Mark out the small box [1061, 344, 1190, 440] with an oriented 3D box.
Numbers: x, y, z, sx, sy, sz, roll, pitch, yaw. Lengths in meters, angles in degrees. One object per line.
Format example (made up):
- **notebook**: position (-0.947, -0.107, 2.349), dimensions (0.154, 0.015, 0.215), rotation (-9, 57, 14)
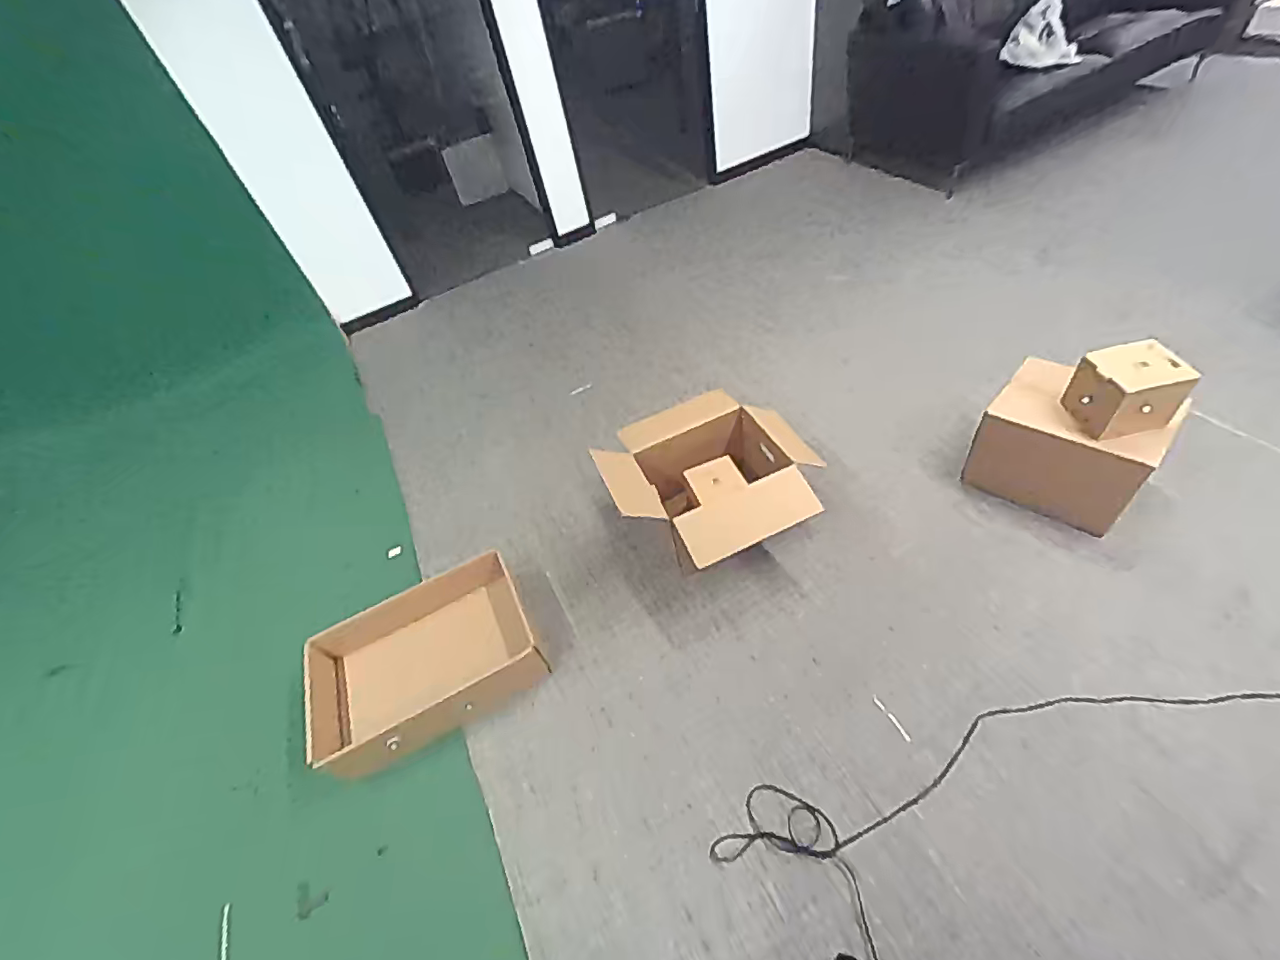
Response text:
- **small box**: position (1.259, -0.225, 1.425), dimensions (0.179, 0.176, 0.168), rotation (-13, 47, 5)
